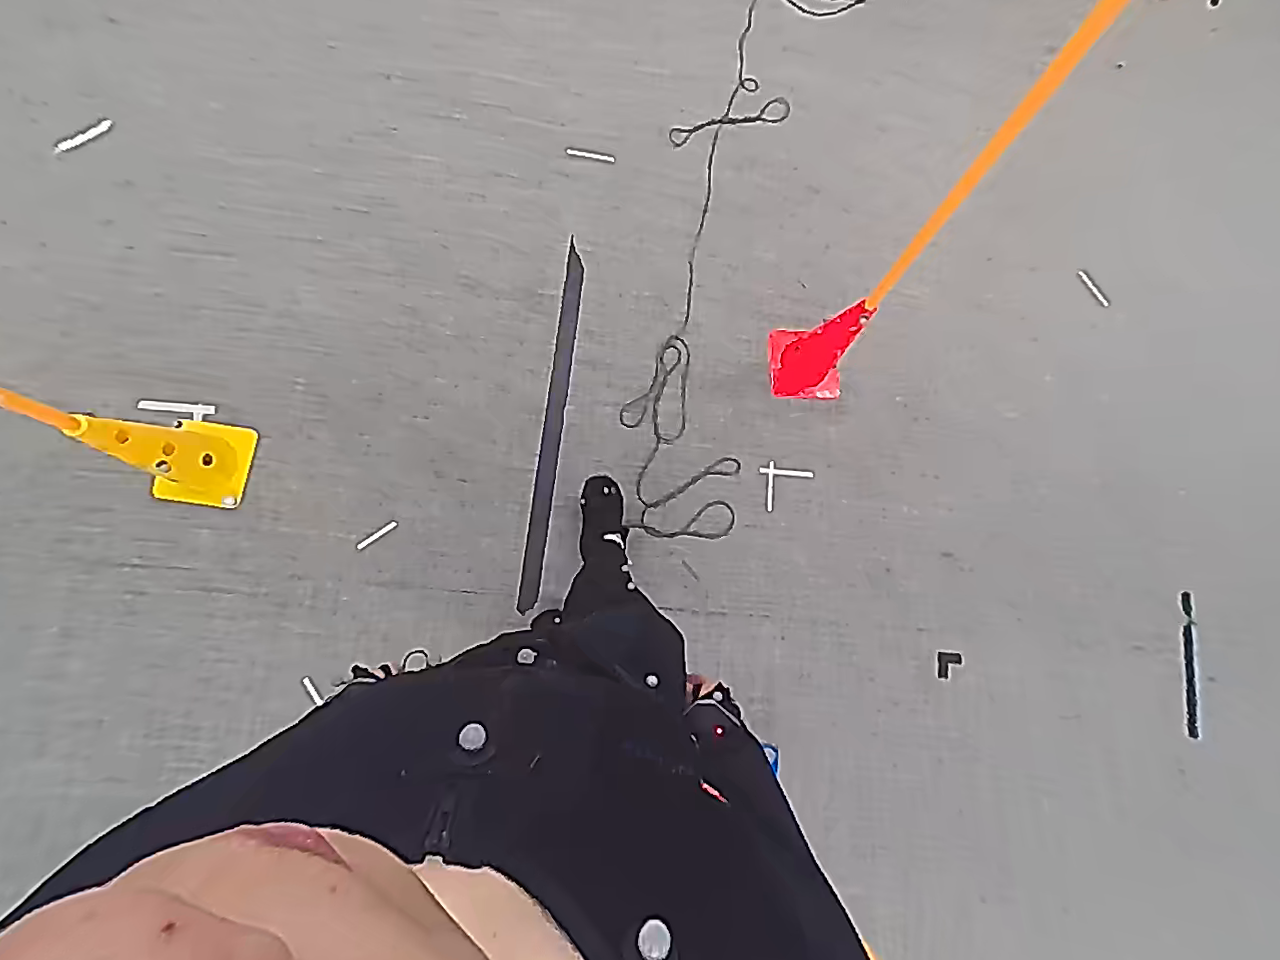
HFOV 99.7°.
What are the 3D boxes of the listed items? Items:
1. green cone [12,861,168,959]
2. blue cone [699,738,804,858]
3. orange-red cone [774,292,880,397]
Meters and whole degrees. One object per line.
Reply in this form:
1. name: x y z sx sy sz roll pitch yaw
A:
1. green cone: -1.081 0.883 0.961 0.200 0.368 0.202 -4 79 -7
2. blue cone: 0.258 0.708 1.157 0.193 0.380 0.192 10 79 -5
3. orange-red cone: 0.489 -0.361 1.352 0.199 0.360 0.198 2 80 -5
